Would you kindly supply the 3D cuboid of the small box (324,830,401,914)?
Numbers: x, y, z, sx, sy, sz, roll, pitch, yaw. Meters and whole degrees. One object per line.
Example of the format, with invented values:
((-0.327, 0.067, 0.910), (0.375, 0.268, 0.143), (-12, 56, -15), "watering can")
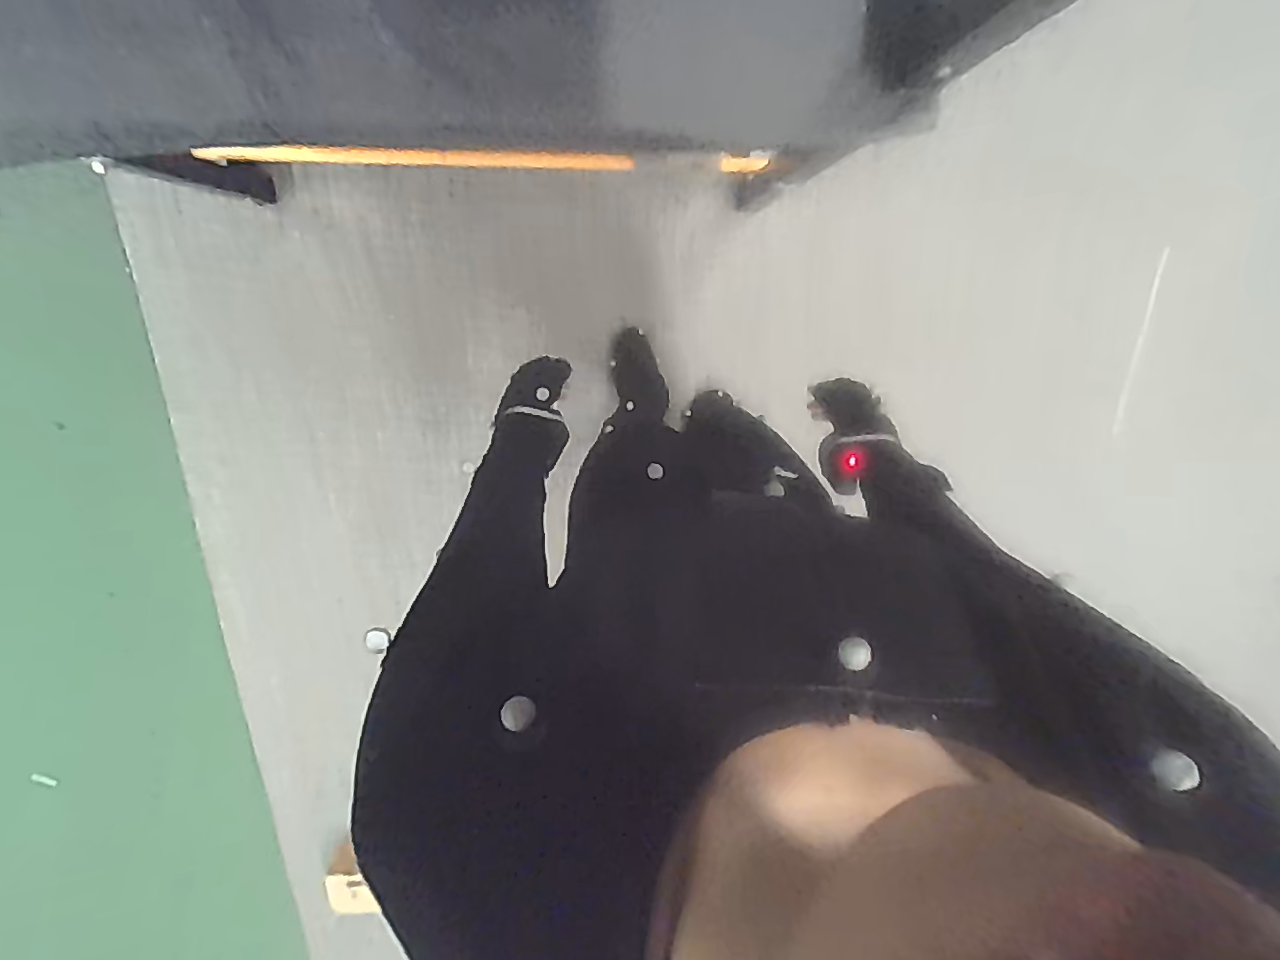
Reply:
((-0.922, 1.304, 1.809), (0.168, 0.176, 0.179), (0, 108, -1), "small box")
